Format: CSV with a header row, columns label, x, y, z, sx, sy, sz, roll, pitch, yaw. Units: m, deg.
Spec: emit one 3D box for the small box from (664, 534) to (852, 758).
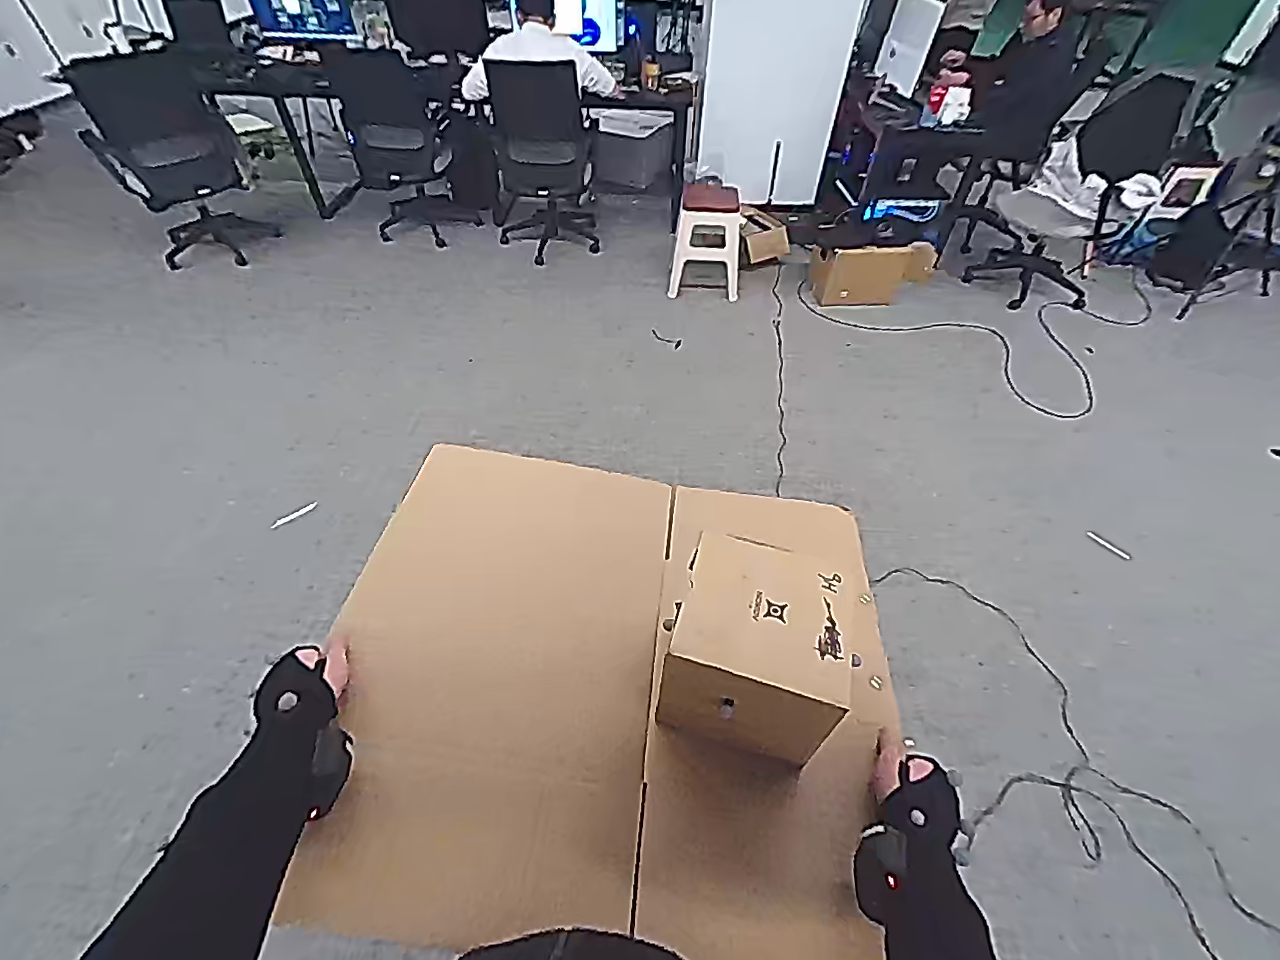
label,x,y,z,sx,sy,sz,roll,pitch,yaw
small box,0.131,0.193,0.625,0.179,0.176,0.168,13,46,11
